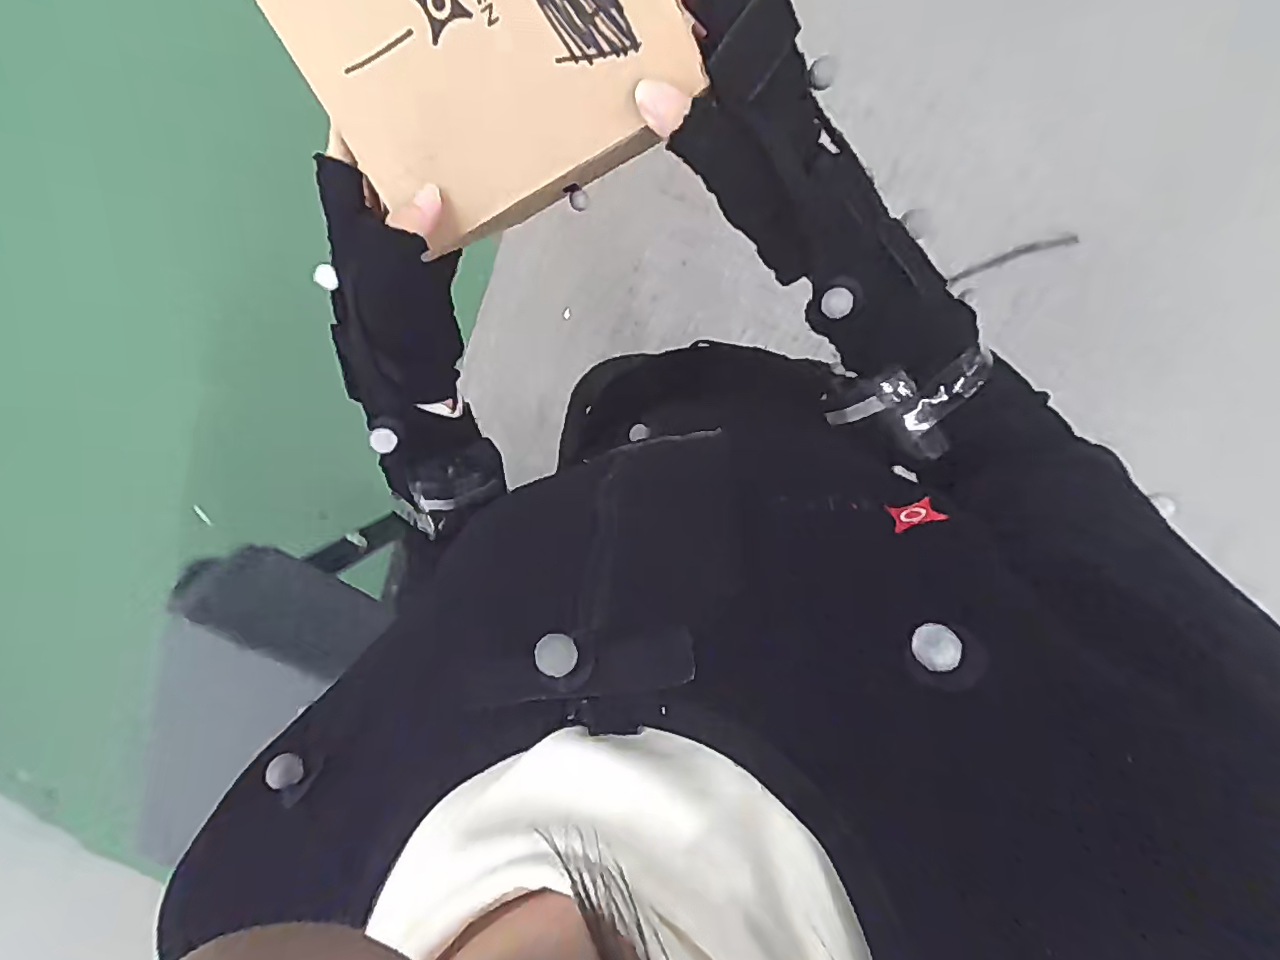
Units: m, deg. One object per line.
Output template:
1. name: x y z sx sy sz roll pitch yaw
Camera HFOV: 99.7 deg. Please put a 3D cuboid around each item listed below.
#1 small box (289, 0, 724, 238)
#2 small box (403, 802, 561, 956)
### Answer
1. small box: -0.062 -0.265 0.305 0.179 0.176 0.168 -18 117 20
2. small box: -0.246 0.641 0.832 0.179 0.176 0.168 22 110 3
